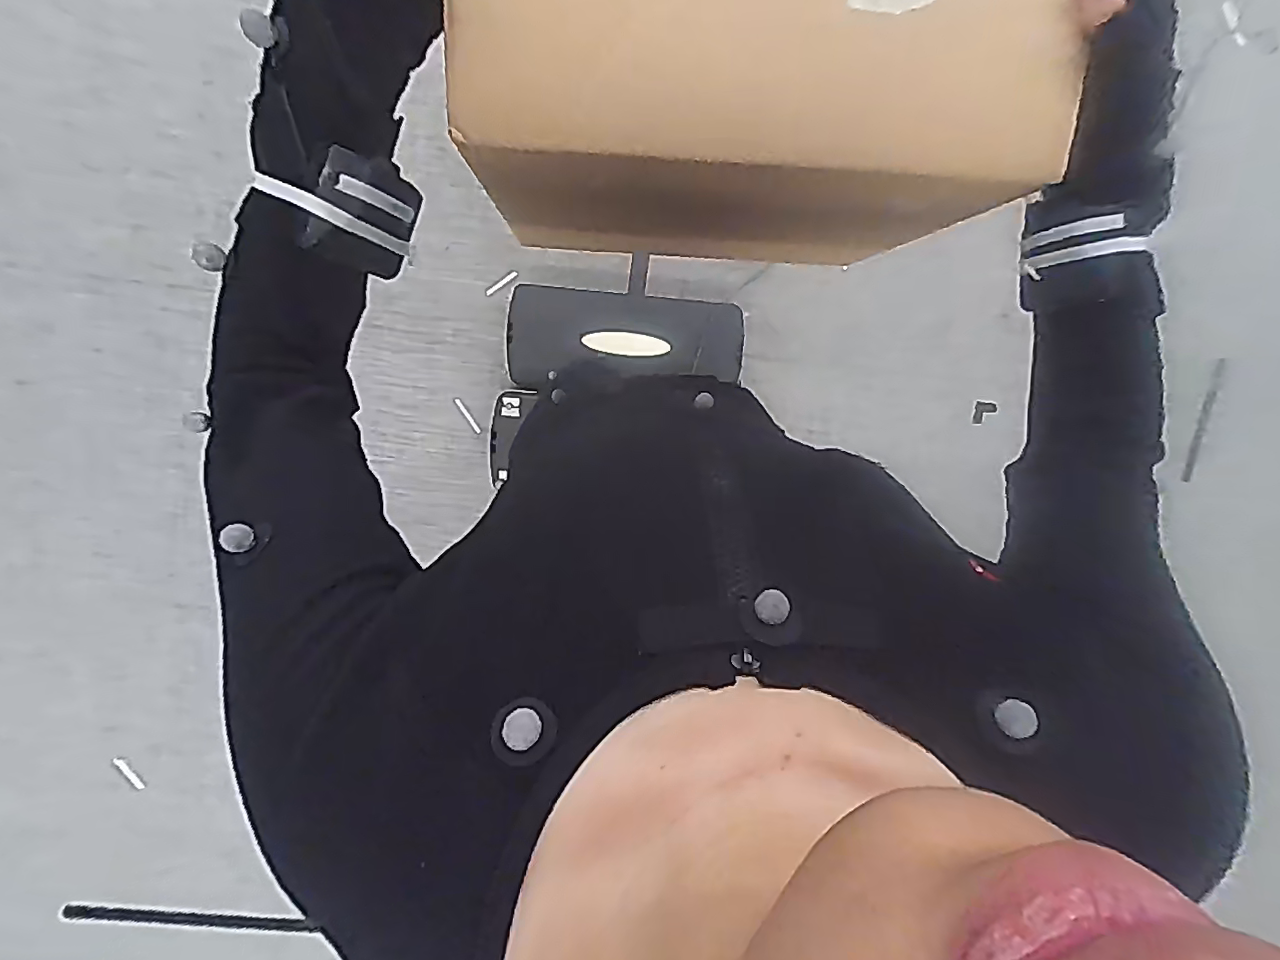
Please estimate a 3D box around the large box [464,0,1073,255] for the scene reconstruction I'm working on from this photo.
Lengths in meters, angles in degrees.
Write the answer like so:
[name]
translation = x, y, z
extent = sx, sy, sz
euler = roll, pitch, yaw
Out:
[large box]
translation = 0.075, -0.395, 0.477
extent = 0.408, 0.320, 0.320
euler = 0, 102, -5
